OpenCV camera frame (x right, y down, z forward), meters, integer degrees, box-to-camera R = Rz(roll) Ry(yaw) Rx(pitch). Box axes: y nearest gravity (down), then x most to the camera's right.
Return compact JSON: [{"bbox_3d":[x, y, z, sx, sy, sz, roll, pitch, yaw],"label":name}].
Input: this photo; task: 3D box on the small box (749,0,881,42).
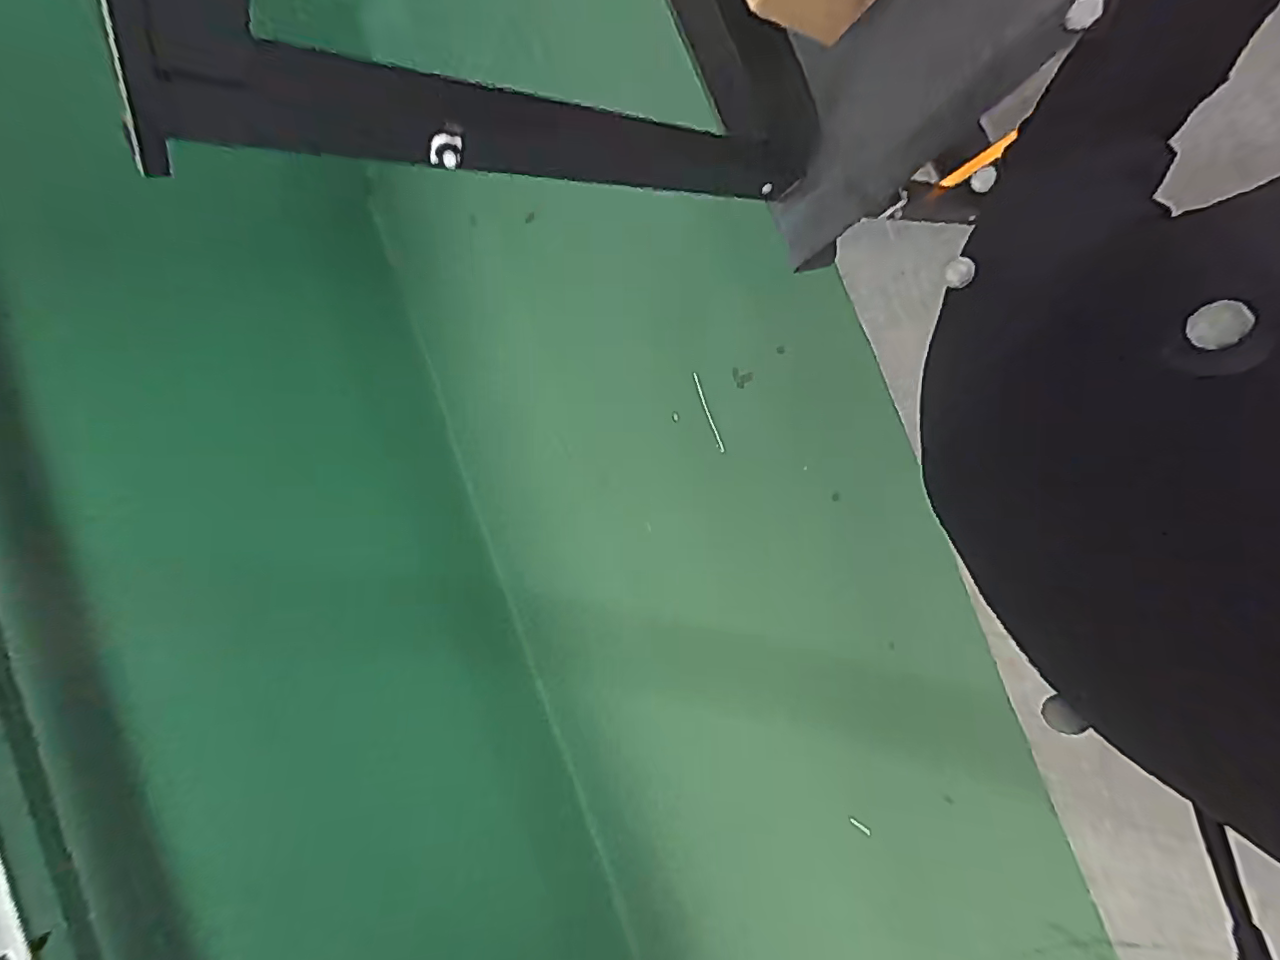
[{"bbox_3d":[0.208,-0.645,0.601,0.168,0.176,0.179,-24,85,52],"label":"small box"}]
